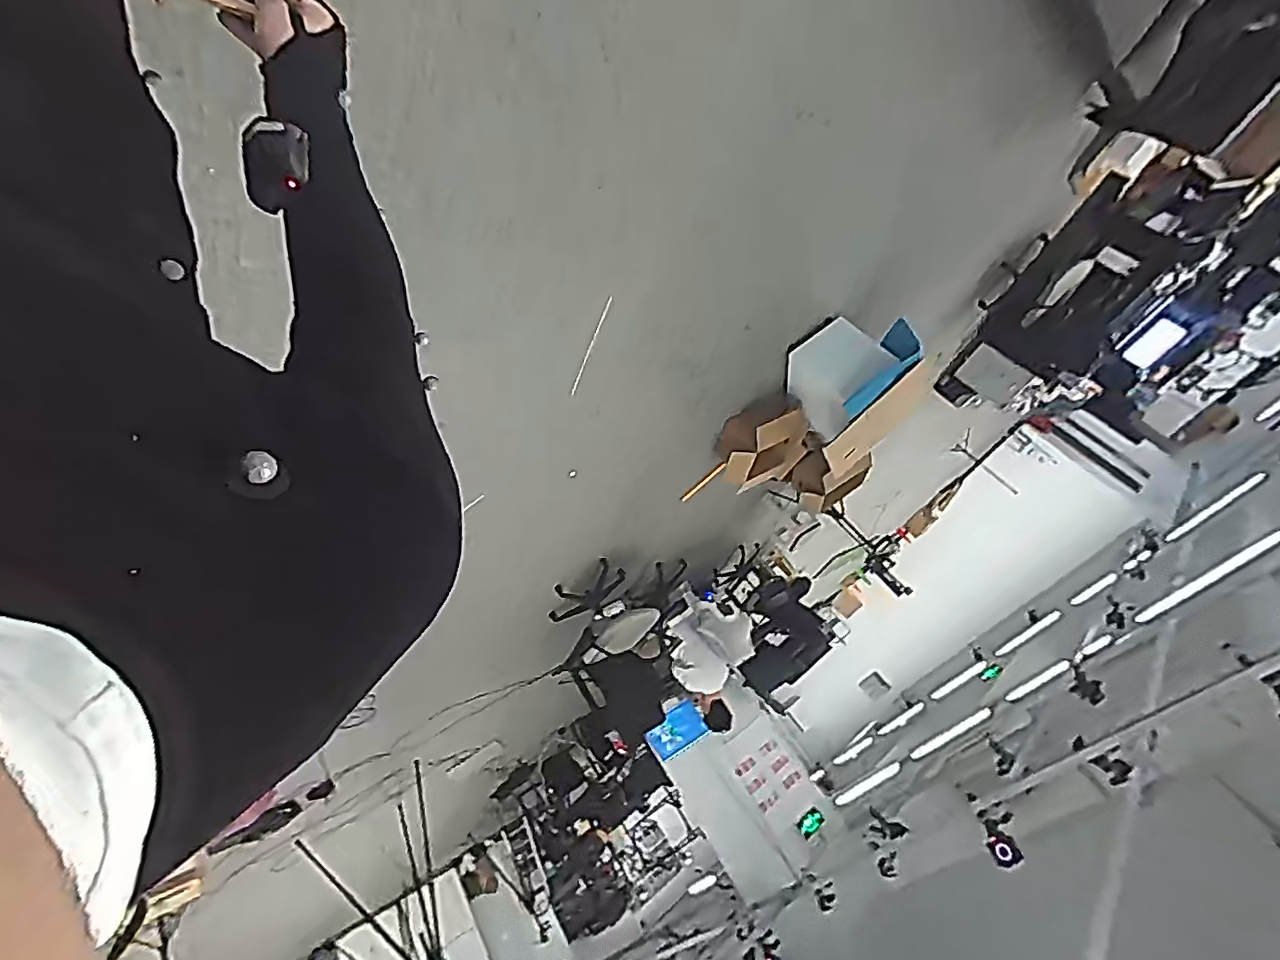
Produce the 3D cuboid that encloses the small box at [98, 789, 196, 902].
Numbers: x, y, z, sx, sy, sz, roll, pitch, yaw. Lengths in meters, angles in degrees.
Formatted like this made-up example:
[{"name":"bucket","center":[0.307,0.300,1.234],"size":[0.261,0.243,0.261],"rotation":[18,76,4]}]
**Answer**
[{"name":"small box","center":[-1.285,0.946,1.413],"size":[0.168,0.176,0.179],"rotation":[-11,144,-41]}]
